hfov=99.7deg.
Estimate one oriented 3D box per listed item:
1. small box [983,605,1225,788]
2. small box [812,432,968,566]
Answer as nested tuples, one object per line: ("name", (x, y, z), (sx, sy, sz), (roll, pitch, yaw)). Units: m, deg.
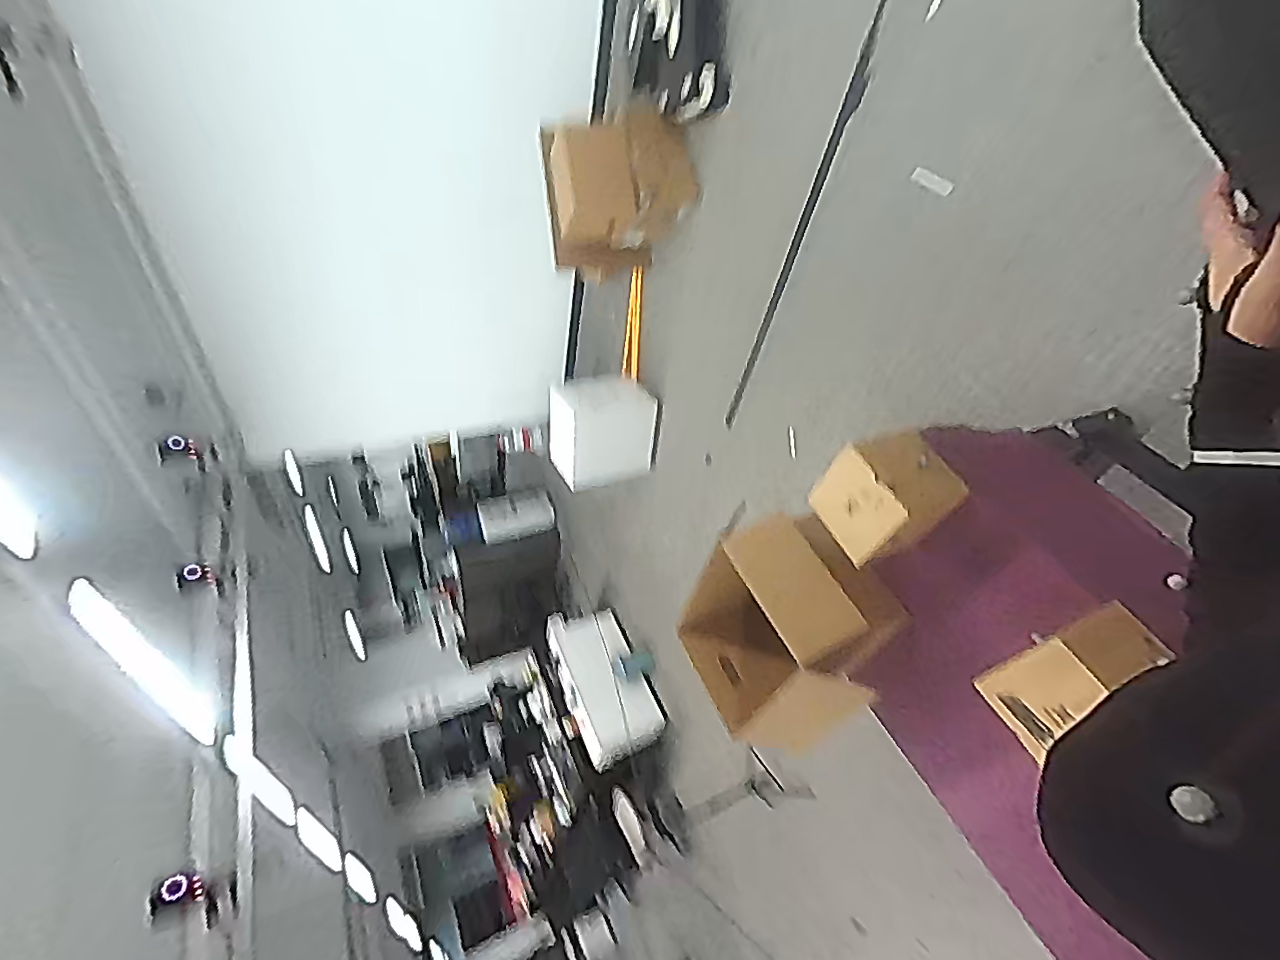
("small box", (0.659, 0.308, 0.779), (0.168, 0.176, 0.179), (59, 149, 32))
("small box", (0.472, 0.034, 1.030), (0.168, 0.176, 0.179), (60, 151, 30))
